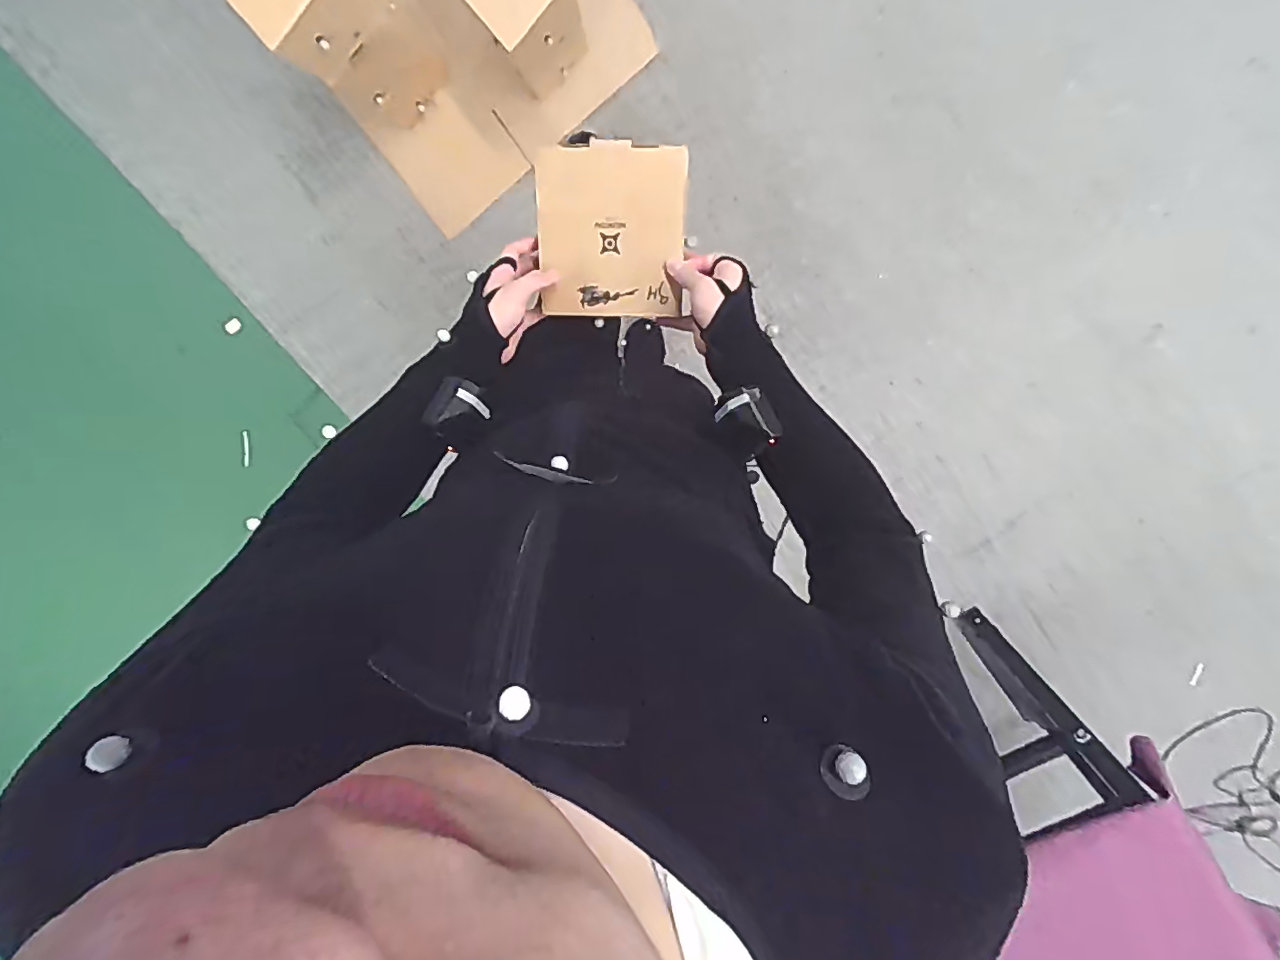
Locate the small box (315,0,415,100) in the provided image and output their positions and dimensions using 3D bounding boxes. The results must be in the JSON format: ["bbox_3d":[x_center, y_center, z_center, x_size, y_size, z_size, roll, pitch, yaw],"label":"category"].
[{"bbox_3d":[-0.585,-0.893,1.064,0.168,0.176,0.179,-38,104,15],"label":"small box"}]

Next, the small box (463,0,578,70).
[{"bbox_3d":[-0.238,-0.930,1.028,0.168,0.176,0.179,-41,104,15],"label":"small box"}]

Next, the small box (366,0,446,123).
[{"bbox_3d":[-0.577,-0.951,1.217,0.168,0.176,0.179,-41,104,16],"label":"small box"}]

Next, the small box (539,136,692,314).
[{"bbox_3d":[-0.025,-0.303,0.668,0.168,0.176,0.179,3,111,3],"label":"small box"}]

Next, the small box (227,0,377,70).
[{"bbox_3d":[-0.589,-0.839,0.911,0.168,0.176,0.179,-37,104,16],"label":"small box"}]
